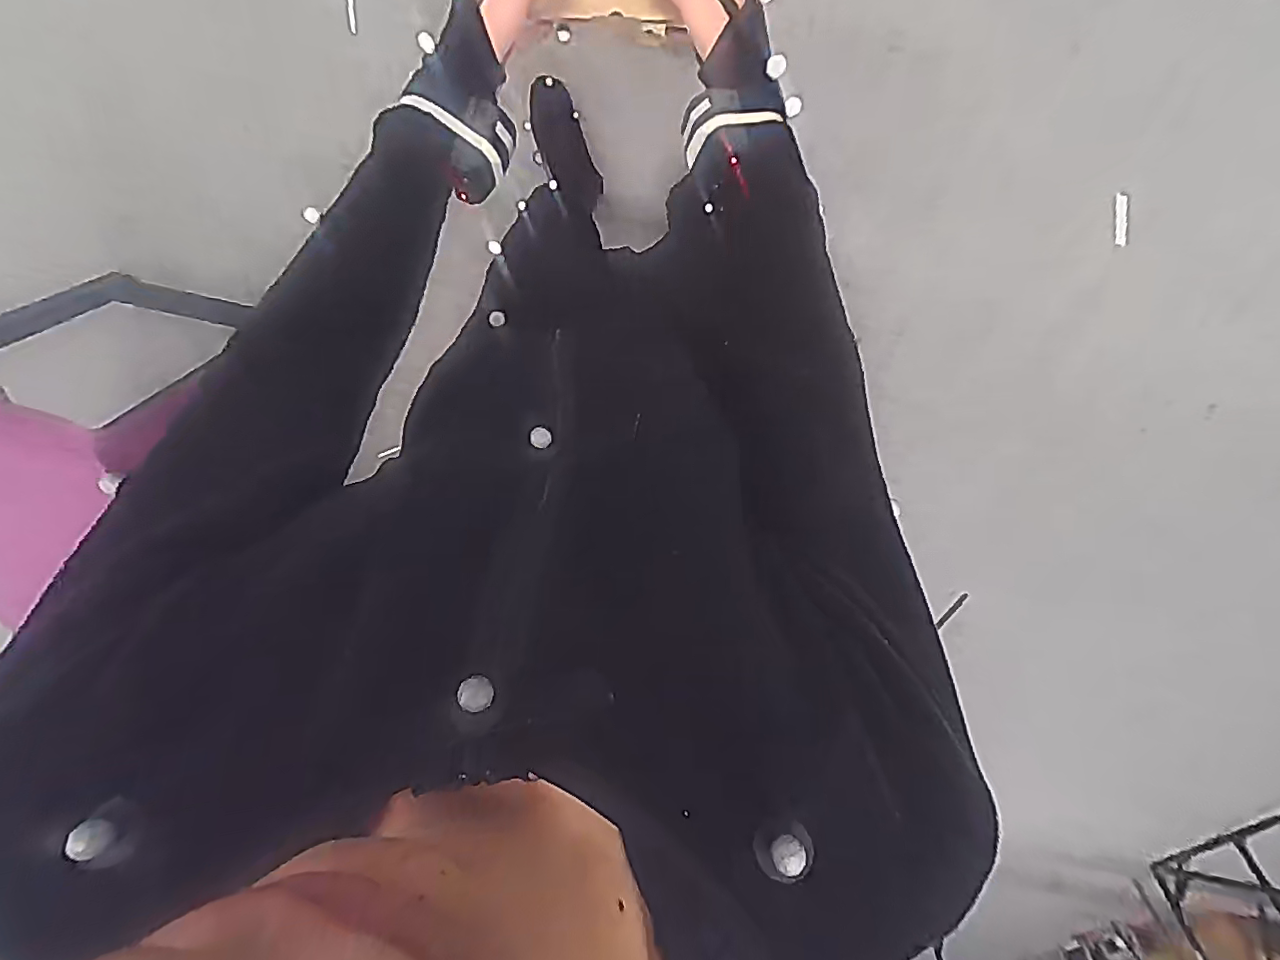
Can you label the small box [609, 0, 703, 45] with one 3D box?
[{"bbox_3d":[0.041,-0.956,1.030,0.168,0.176,0.179,10,130,-1],"label":"small box"}]
